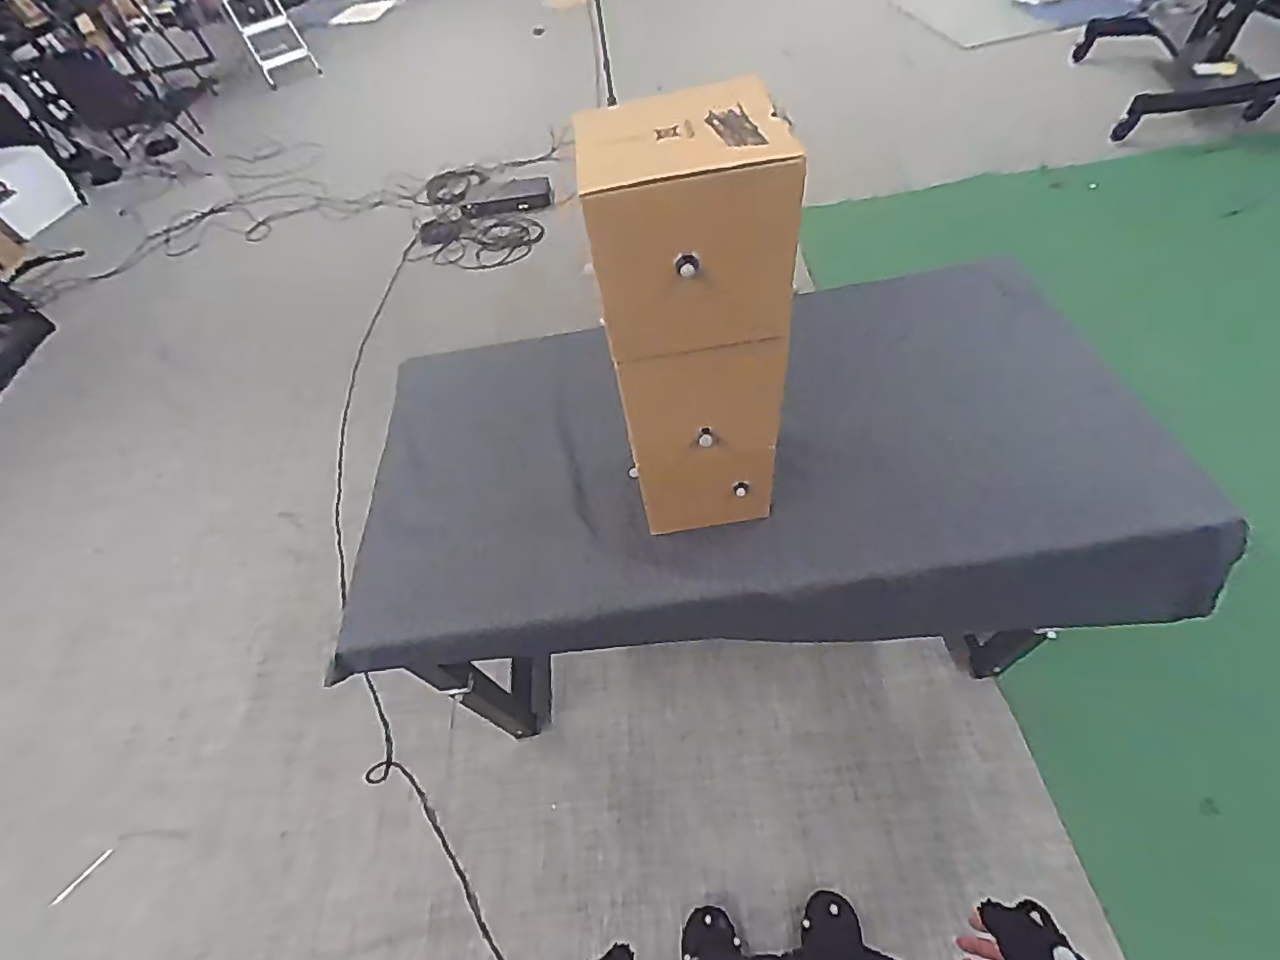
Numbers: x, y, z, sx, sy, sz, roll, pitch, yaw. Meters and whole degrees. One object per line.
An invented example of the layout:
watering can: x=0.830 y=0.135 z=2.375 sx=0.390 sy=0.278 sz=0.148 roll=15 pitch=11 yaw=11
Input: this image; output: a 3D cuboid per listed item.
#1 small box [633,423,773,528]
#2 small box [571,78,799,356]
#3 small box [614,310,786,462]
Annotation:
small box: x=0.082 y=-0.050 z=0.779 sx=0.179 sy=0.176 sz=0.168 roll=-11 pitch=52 yaw=3
small box: x=0.038 y=-0.243 z=0.517 sx=0.179 sy=0.176 sz=0.168 roll=-9 pitch=53 yaw=4
small box: x=0.060 y=-0.145 z=0.651 sx=0.179 sy=0.176 sz=0.168 roll=-12 pitch=54 yaw=2
